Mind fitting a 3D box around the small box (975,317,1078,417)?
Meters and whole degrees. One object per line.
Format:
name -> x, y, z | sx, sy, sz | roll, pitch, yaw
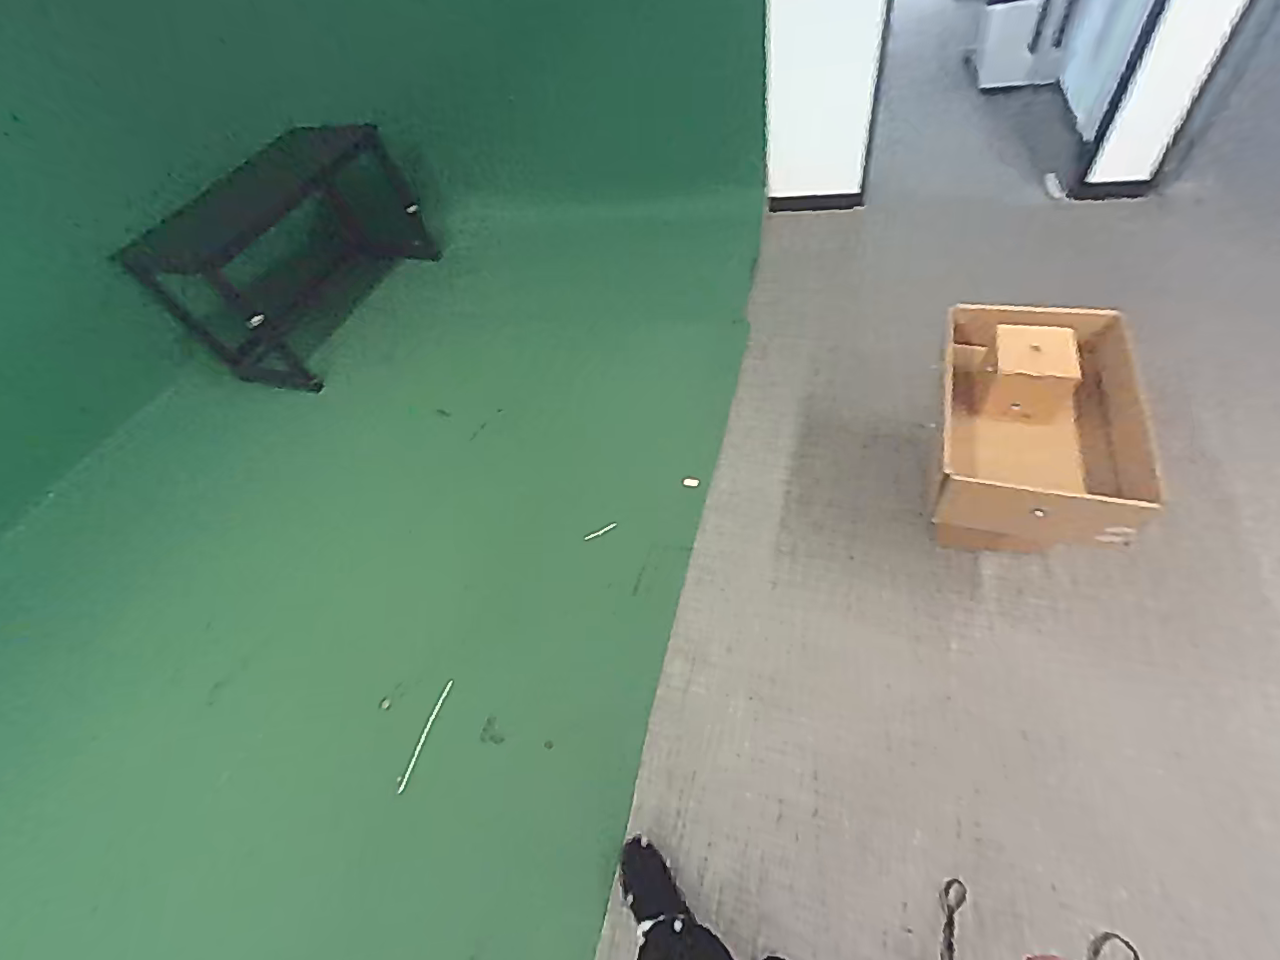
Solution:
small box -> 0.969, -0.287, 1.373 | 0.168, 0.176, 0.179 | 8, 58, 18
